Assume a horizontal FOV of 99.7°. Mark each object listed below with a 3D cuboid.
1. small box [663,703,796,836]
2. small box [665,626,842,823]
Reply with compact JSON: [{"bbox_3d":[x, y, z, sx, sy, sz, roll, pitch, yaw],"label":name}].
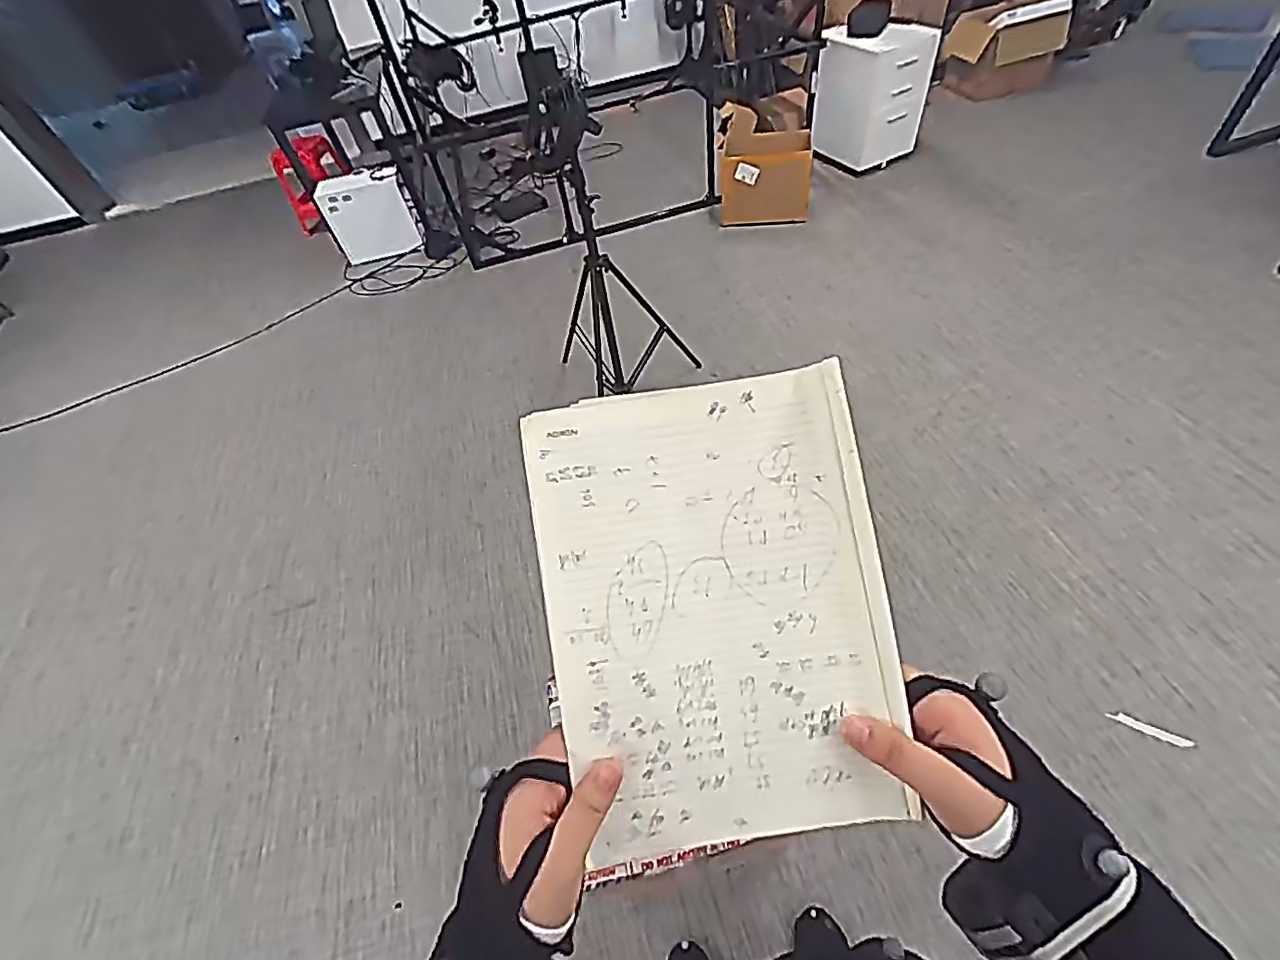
[{"bbox_3d":[0.145,0.425,0.836,0.179,0.176,0.168,-17,52,-7],"label":"small box"},{"bbox_3d":[0.134,0.322,0.708,0.168,0.176,0.179,-14,52,-5],"label":"small box"}]
